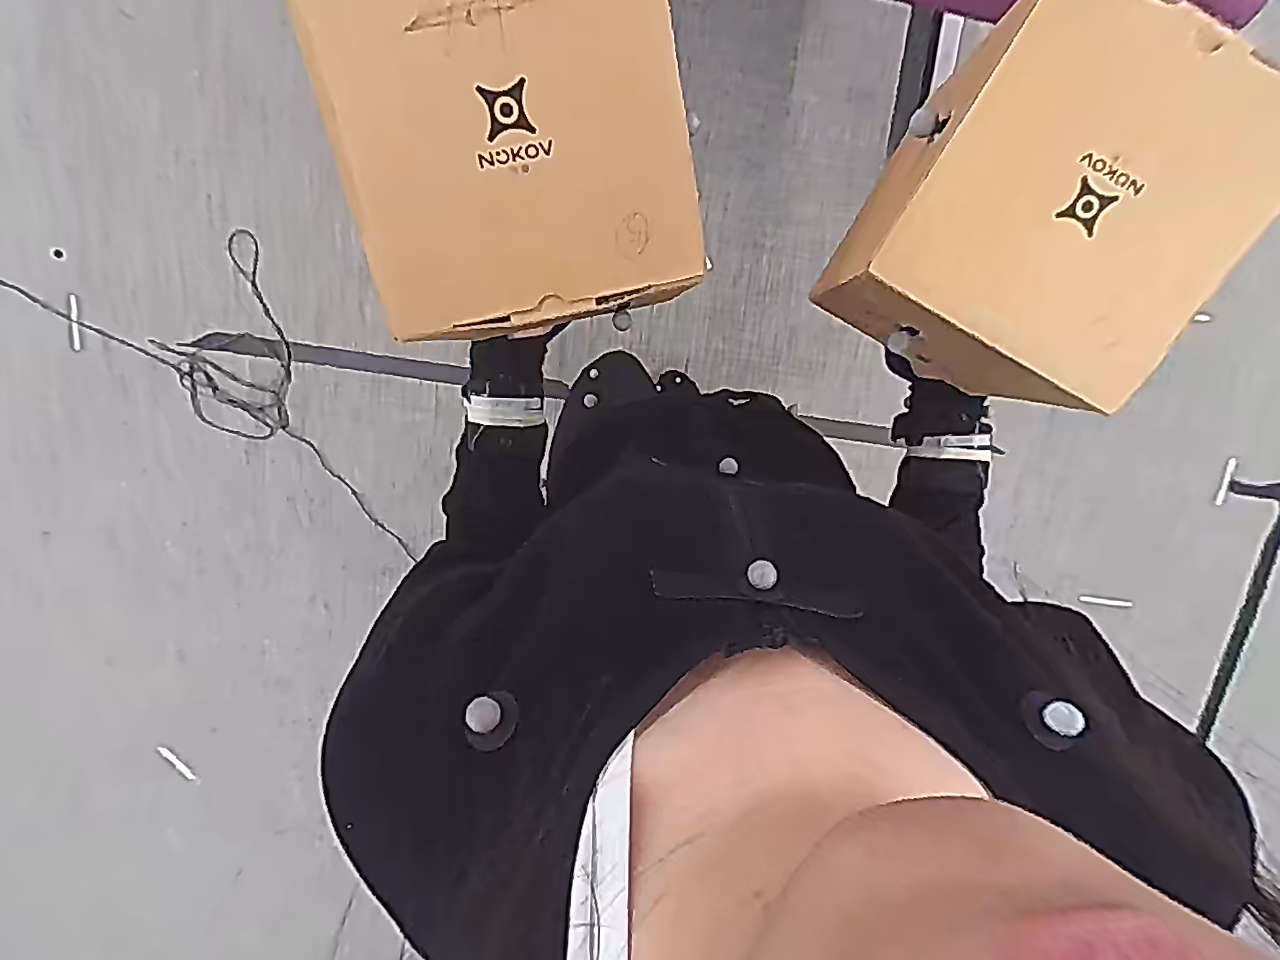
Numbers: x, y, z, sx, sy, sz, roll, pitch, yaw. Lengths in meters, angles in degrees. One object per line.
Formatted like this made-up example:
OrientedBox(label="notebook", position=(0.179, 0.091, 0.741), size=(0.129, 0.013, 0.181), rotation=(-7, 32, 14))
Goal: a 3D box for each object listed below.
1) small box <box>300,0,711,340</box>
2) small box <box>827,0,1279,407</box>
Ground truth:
OrientedBox(label="small box", position=(-0.062, -0.190, 0.330), size=(0.168, 0.176, 0.179), rotation=(-12, 105, -1))
OrientedBox(label="small box", position=(0.248, -0.169, 0.364), size=(0.168, 0.176, 0.179), rotation=(30, 103, -1))
